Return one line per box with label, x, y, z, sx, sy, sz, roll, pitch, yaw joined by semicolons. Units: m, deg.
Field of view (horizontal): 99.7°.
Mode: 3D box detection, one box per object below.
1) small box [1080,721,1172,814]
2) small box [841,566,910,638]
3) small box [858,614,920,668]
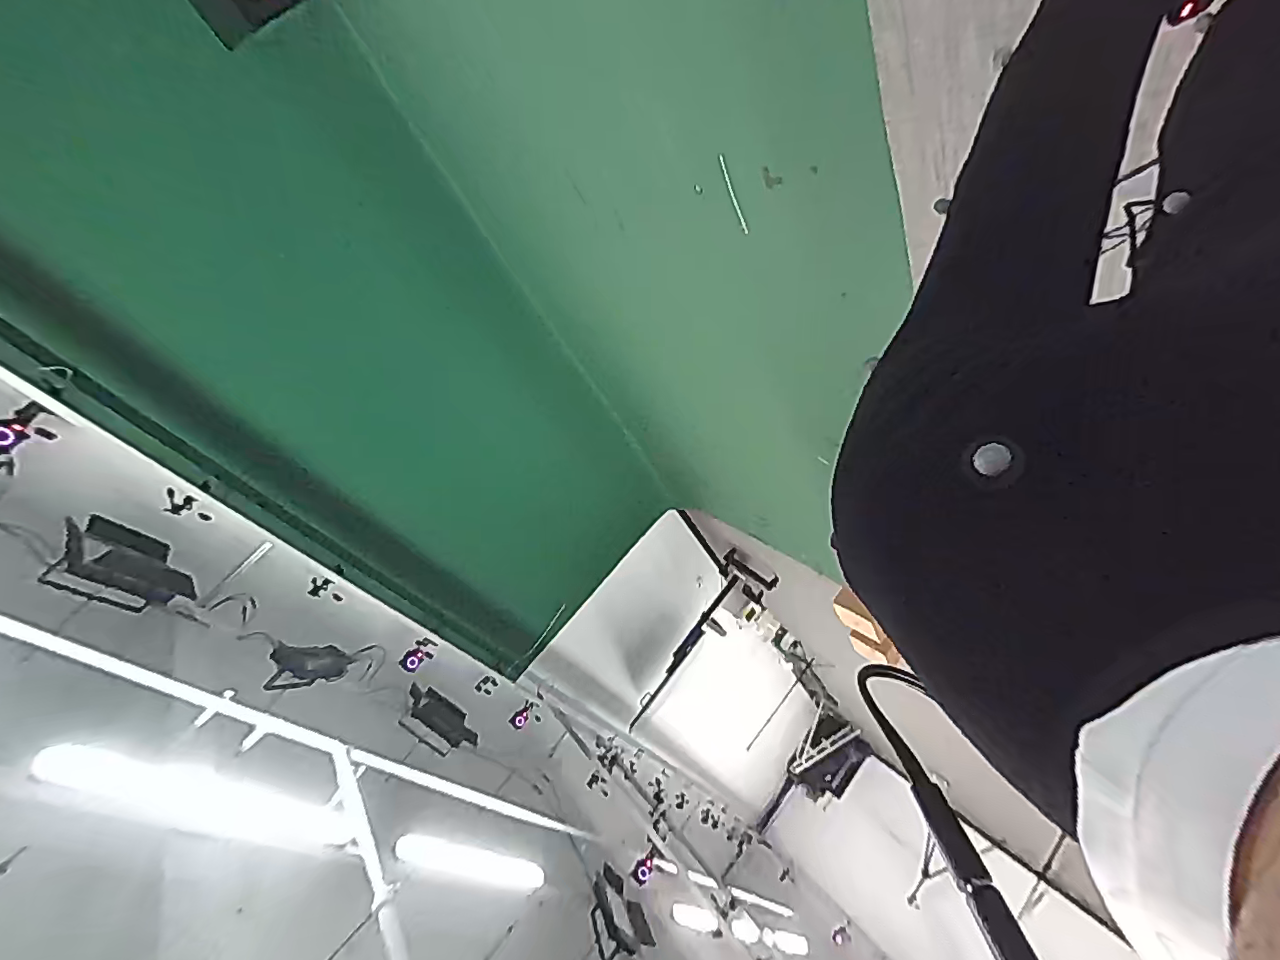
small box;1.499;0.883;1.671;0.168;0.176;0.179;27;161;49
small box;0.899;0.461;2.052;0.168;0.176;0.179;25;159;48
small box;1.038;0.639;2.245;0.168;0.176;0.179;27;161;46
